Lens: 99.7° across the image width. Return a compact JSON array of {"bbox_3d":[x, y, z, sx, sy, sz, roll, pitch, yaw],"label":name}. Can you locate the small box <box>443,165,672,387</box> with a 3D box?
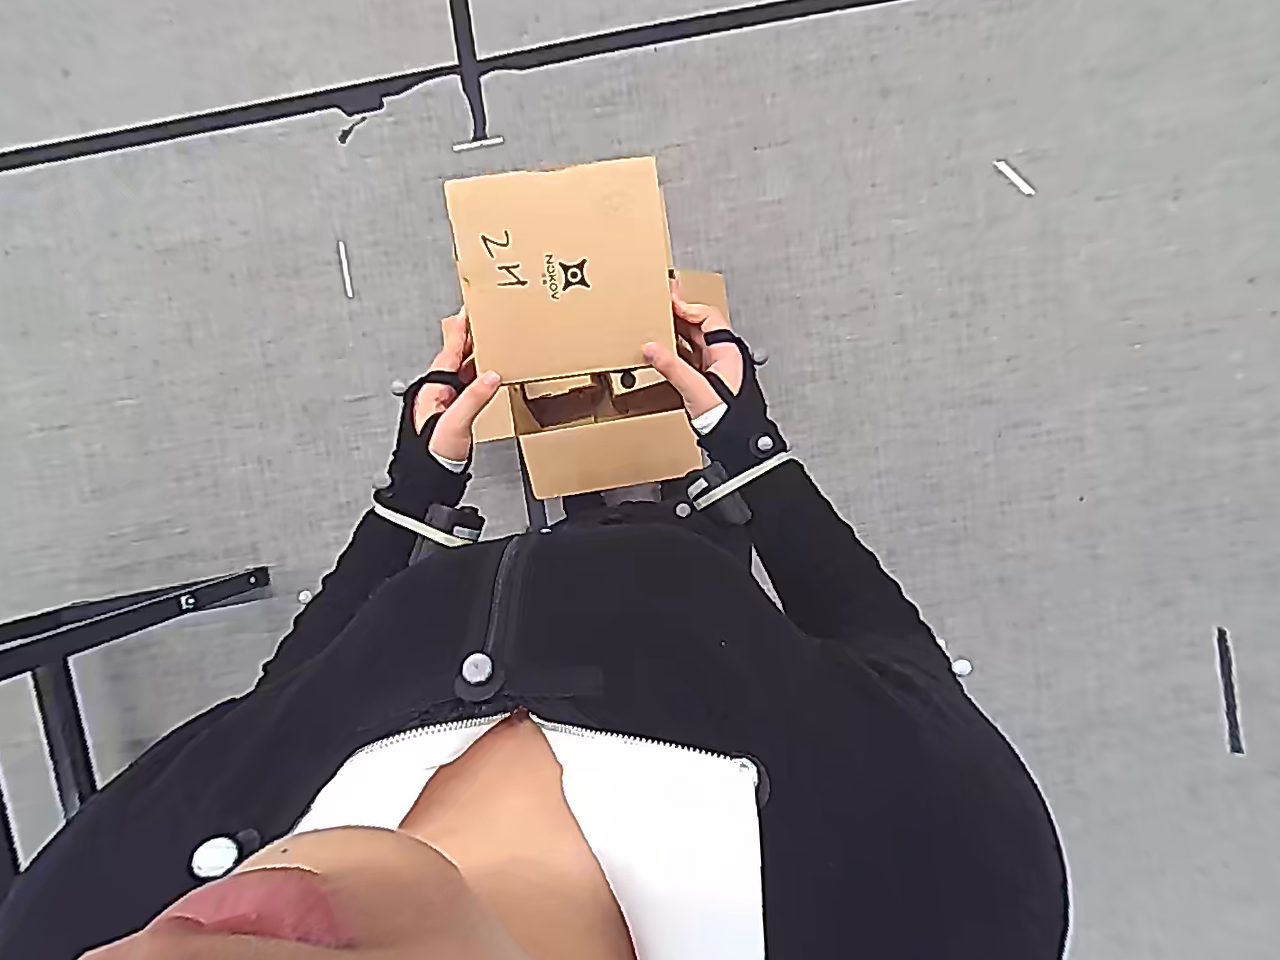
[{"bbox_3d":[-0.070,-0.186,0.534,0.179,0.176,0.168,-7,101,0],"label":"small box"}]
